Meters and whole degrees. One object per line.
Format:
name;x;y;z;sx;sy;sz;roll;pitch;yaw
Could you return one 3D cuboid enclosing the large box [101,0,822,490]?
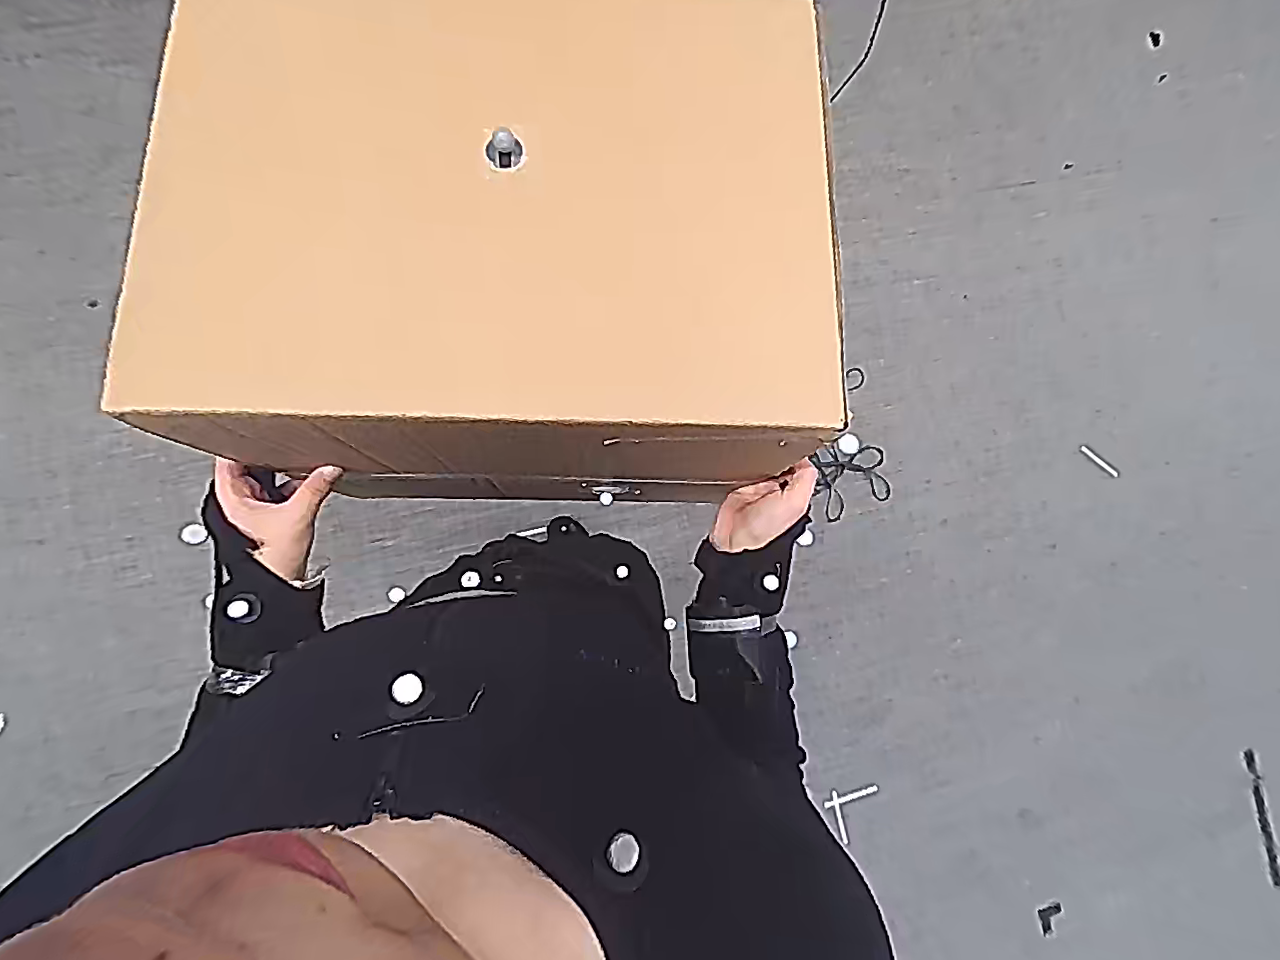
large box;-0.105;-0.166;0.468;0.408;0.320;0.320;0;82;-4
